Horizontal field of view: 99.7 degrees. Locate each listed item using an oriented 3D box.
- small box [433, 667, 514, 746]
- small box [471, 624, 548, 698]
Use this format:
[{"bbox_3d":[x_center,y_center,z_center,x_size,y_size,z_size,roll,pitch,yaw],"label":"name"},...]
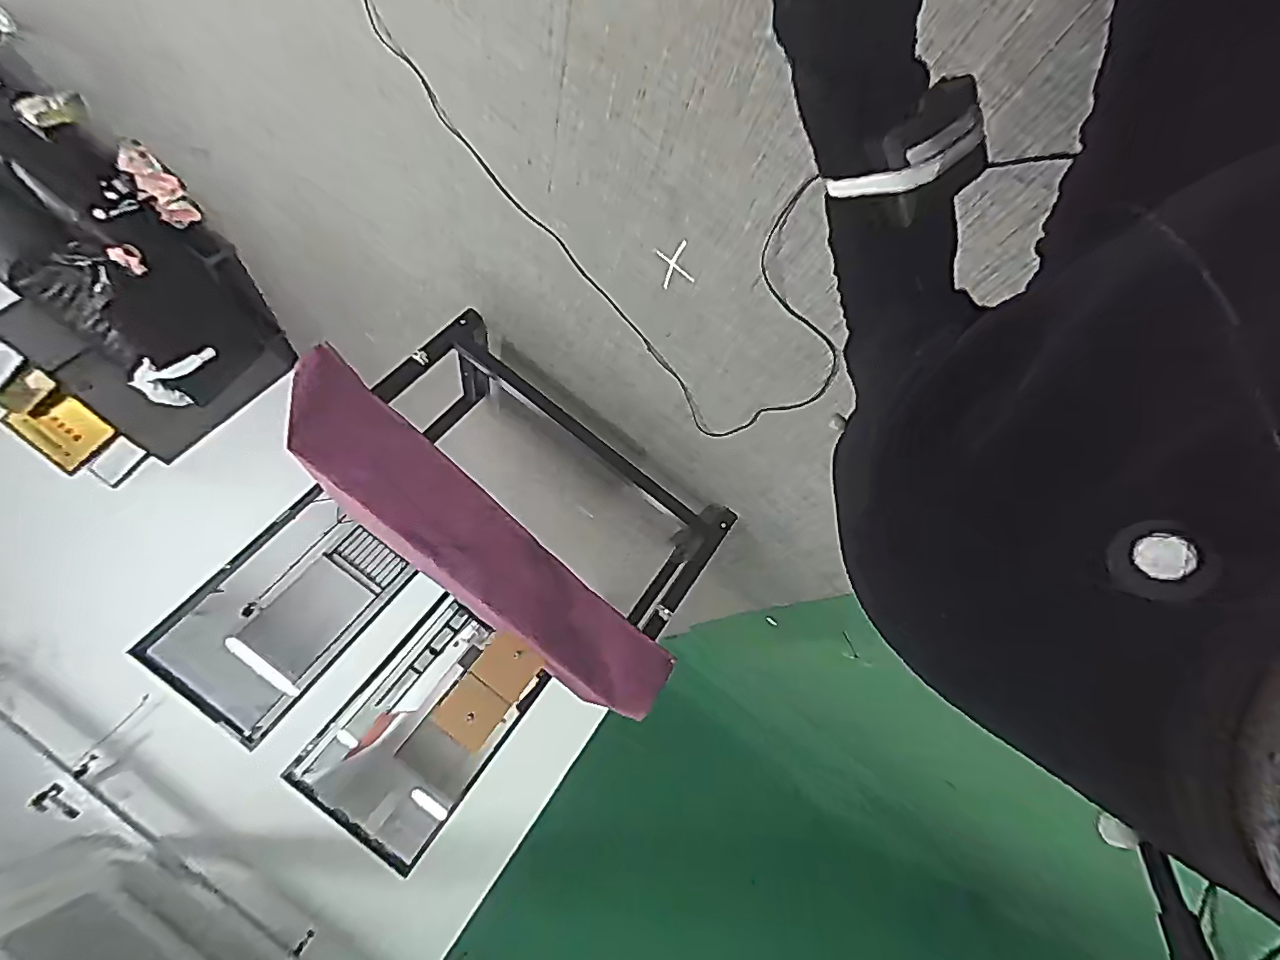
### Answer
[{"bbox_3d":[-0.521,0.705,1.704,0.179,0.176,0.168,37,156,2],"label":"small box"},{"bbox_3d":[-0.426,0.588,1.771,0.179,0.176,0.168,37,156,3],"label":"small box"}]
